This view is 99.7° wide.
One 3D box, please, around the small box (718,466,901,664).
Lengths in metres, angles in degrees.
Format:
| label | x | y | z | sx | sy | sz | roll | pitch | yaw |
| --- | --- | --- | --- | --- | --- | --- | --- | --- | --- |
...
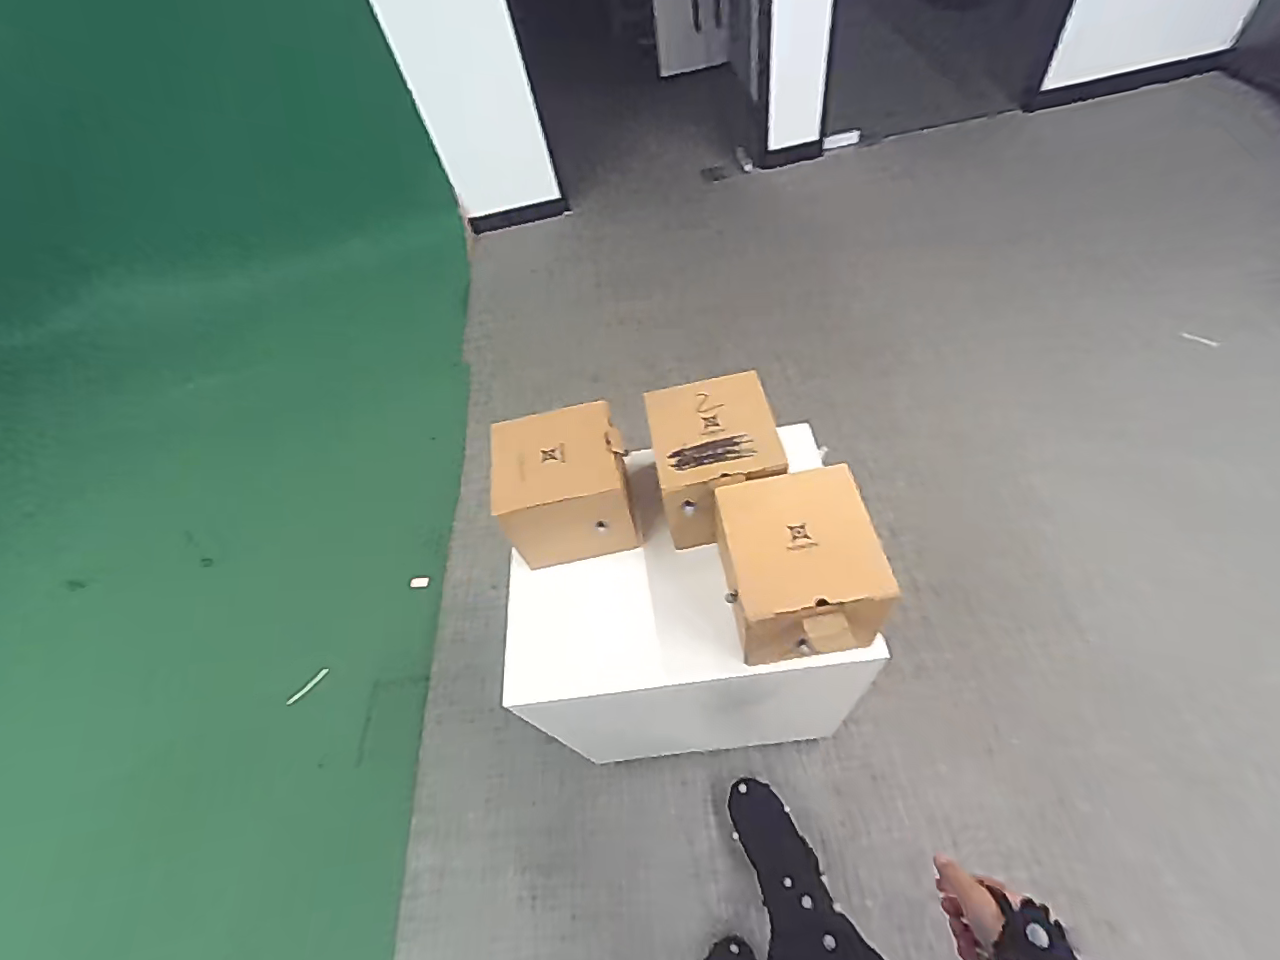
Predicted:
| label | x | y | z | sx | sy | sz | roll | pitch | yaw |
| --- | --- | --- | --- | --- | --- | --- | --- | --- | --- |
| small box | 0.195 | 0.110 | 0.680 | 0.168 | 0.176 | 0.179 | -11 | 54 | 3 |

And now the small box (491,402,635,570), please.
| label | x | y | z | sx | sy | sz | roll | pitch | yaw |
| --- | --- | --- | --- | --- | --- | --- | --- | --- | --- |
| small box | -0.108 | 0.014 | 0.805 | 0.179 | 0.176 | 0.168 | -13 | 53 | 1 |
